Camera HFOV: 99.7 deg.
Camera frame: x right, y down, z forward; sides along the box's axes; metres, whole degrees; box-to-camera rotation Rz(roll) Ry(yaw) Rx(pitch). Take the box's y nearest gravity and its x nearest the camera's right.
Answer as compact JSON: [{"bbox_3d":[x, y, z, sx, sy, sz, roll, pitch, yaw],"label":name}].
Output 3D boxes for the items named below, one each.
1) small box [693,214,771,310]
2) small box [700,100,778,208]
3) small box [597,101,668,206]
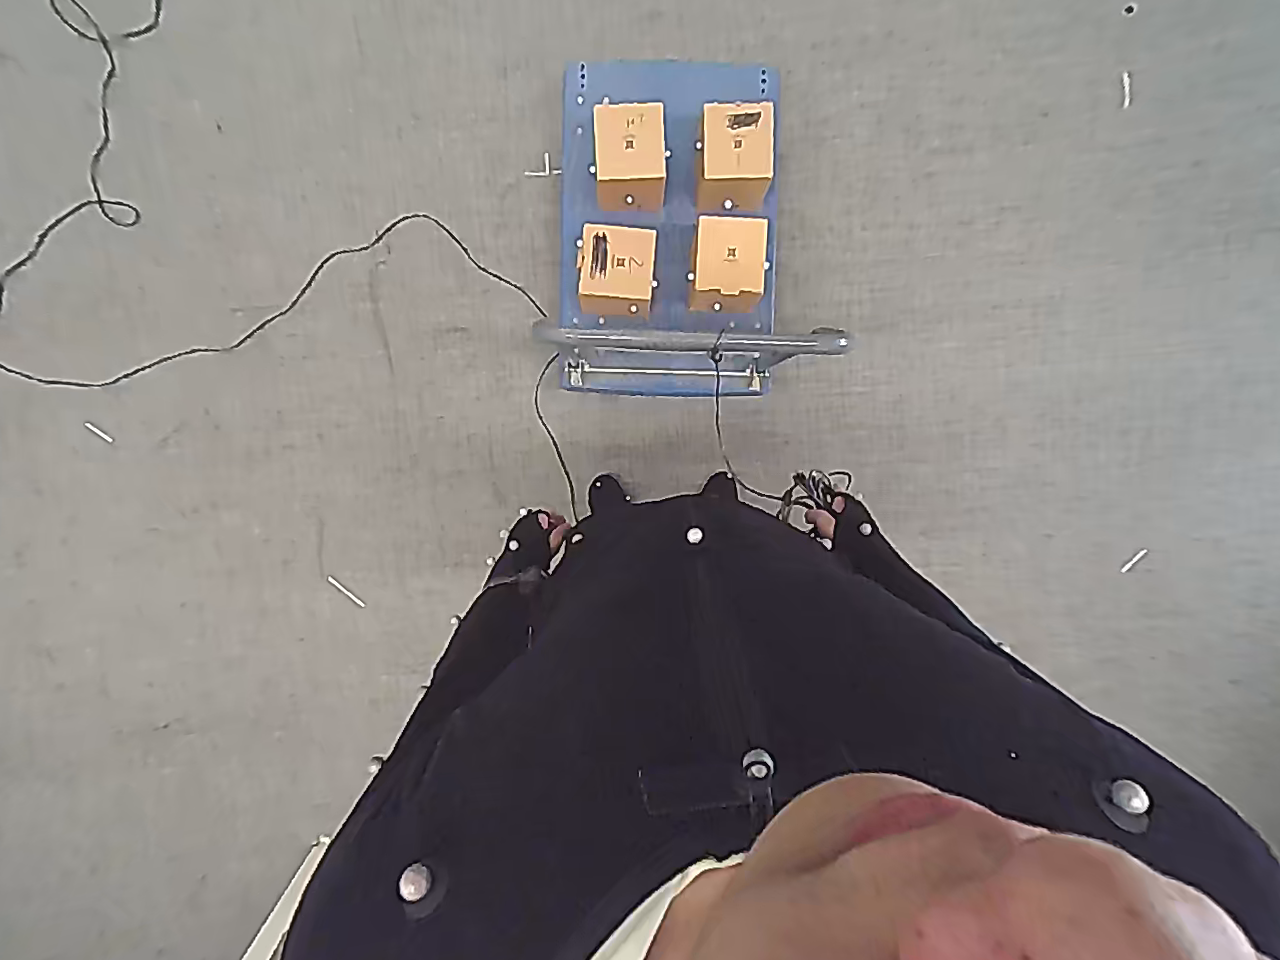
[{"bbox_3d":[0.224,-0.541,1.357,0.168,0.176,0.179,2,93,0],"label":"small box"},{"bbox_3d":[0.240,-0.803,1.344,0.168,0.176,0.179,0,93,1],"label":"small box"},{"bbox_3d":[-0.017,-0.801,1.345,0.168,0.176,0.179,-2,92,-1],"label":"small box"}]
